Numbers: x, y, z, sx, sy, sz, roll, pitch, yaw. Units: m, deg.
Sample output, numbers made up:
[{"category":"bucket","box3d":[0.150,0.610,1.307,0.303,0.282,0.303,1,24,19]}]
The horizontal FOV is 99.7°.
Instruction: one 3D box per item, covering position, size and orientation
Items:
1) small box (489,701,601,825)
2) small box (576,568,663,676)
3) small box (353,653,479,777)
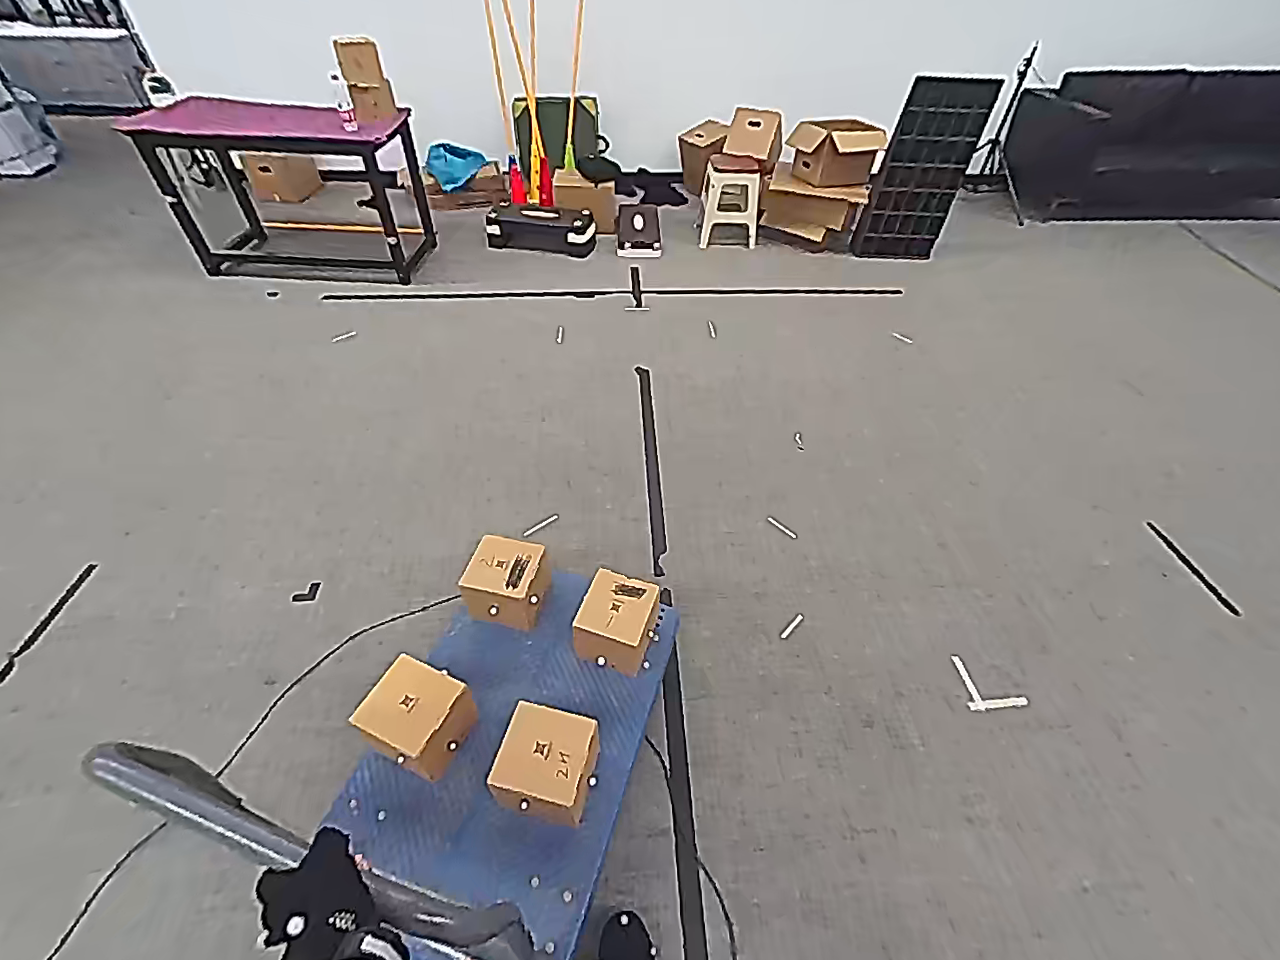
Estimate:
[{"category":"small box","box3d":[-0.188,0.592,1.127,0.179,0.176,0.168,11,46,9]},{"category":"small box","box3d":[-0.050,0.358,1.362,0.168,0.176,0.179,15,48,13]},{"category":"small box","box3d":[-0.481,0.519,1.187,0.179,0.176,0.168,19,47,14]}]
